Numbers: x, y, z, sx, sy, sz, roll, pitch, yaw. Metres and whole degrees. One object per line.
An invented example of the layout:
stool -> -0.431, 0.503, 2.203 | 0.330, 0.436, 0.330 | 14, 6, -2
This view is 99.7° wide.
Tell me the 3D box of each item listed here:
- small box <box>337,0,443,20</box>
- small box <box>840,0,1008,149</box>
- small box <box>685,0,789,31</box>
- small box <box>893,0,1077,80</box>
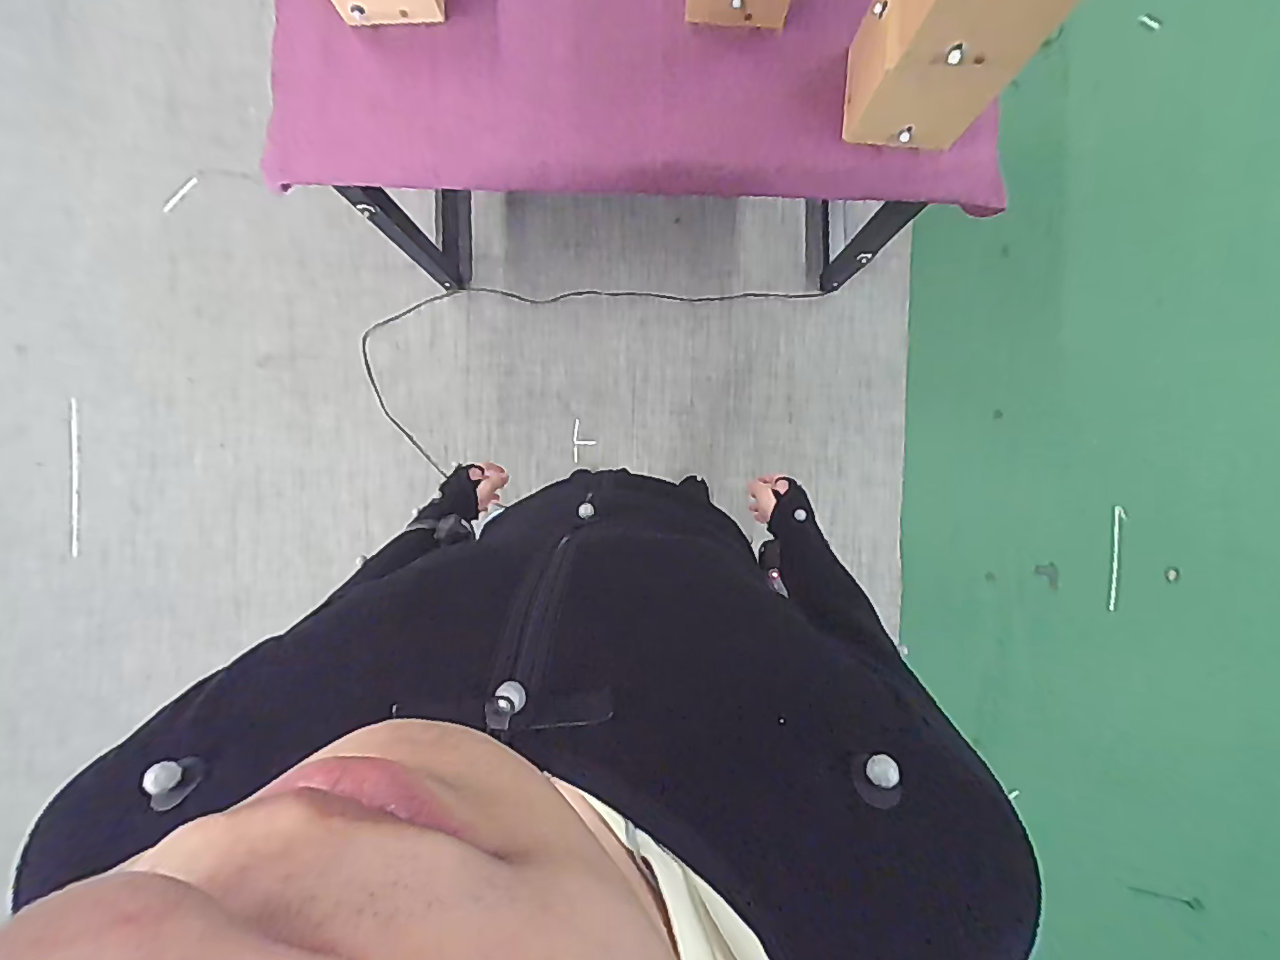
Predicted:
small box -> -0.408, -0.845, 0.818 | 0.168, 0.176, 0.179 | -2, 90, -1
small box -> 0.427, -0.637, 0.822 | 0.179, 0.176, 0.168 | 5, 90, 0
small box -> 0.161, -0.843, 0.821 | 0.168, 0.176, 0.179 | 5, 91, 0
small box -> 0.429, -0.640, 0.659 | 0.168, 0.176, 0.179 | 5, 90, 2
